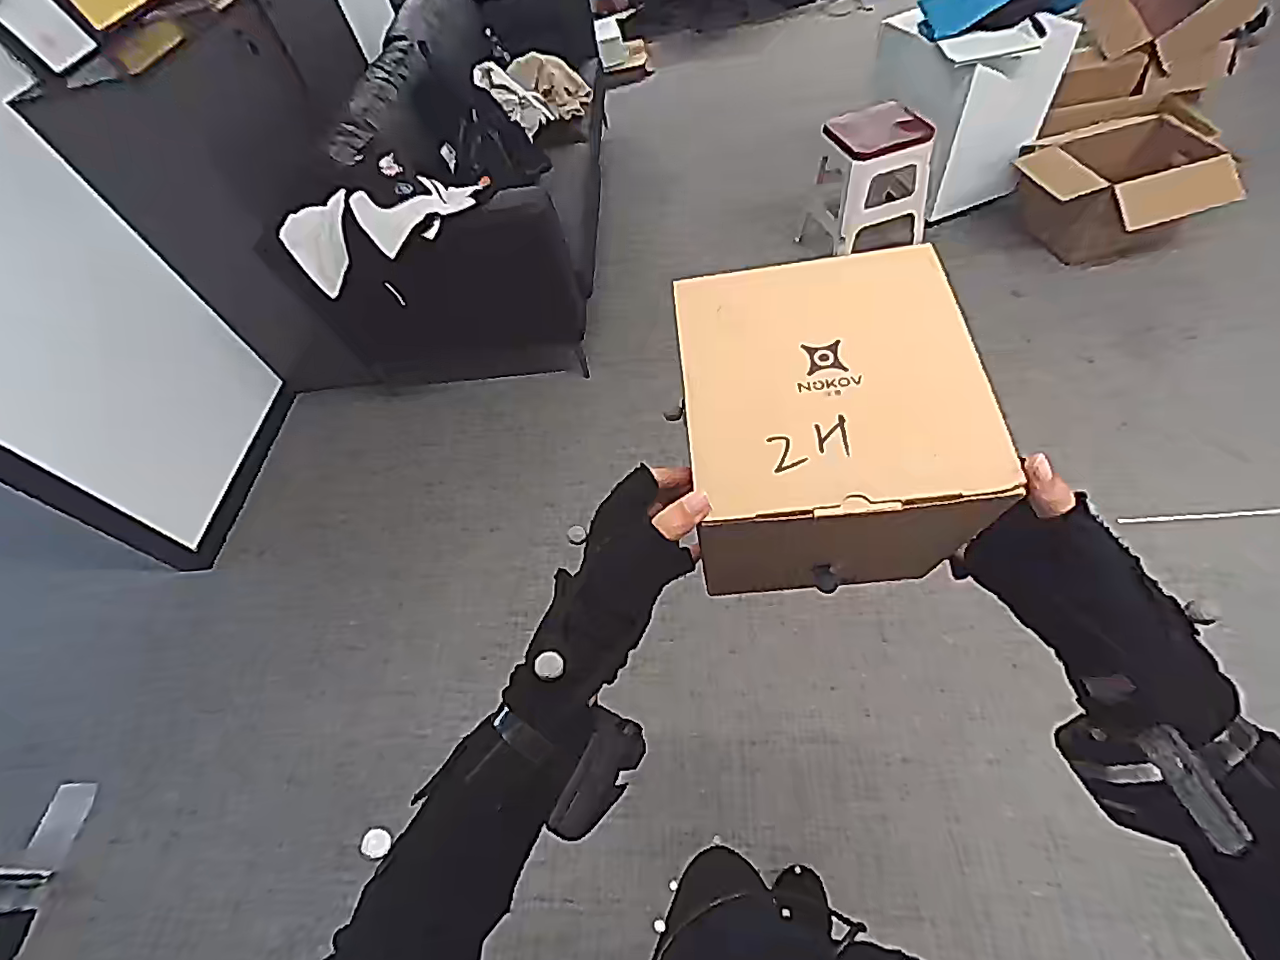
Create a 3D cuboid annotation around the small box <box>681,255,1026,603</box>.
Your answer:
[{"bbox_3d":[0.120,-0.023,0.384,0.168,0.176,0.179,-6,63,7],"label":"small box"}]
